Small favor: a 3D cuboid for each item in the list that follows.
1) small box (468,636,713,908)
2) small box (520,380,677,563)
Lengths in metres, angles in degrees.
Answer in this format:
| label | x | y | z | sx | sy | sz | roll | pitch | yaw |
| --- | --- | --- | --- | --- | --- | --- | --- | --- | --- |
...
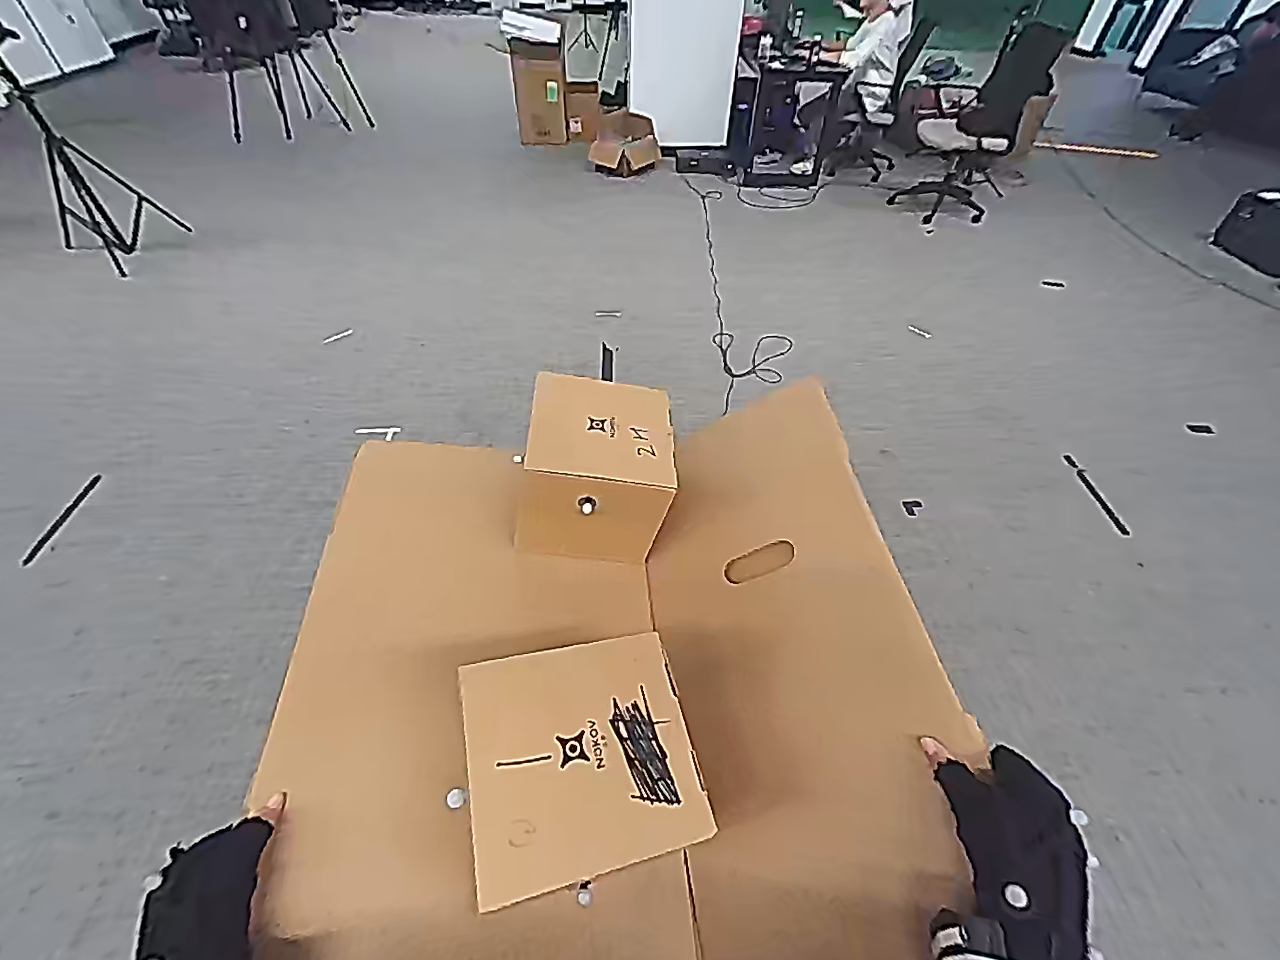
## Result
| label | x | y | z | sx | sy | sz | roll | pitch | yaw |
| --- | --- | --- | --- | --- | --- | --- | --- | --- | --- |
| small box | -0.061 | 0.263 | 0.492 | 0.179 | 0.176 | 0.168 | -4 | 53 | -19 |
| small box | -0.060 | -0.004 | 0.718 | 0.179 | 0.176 | 0.168 | 8 | 50 | -11 |
